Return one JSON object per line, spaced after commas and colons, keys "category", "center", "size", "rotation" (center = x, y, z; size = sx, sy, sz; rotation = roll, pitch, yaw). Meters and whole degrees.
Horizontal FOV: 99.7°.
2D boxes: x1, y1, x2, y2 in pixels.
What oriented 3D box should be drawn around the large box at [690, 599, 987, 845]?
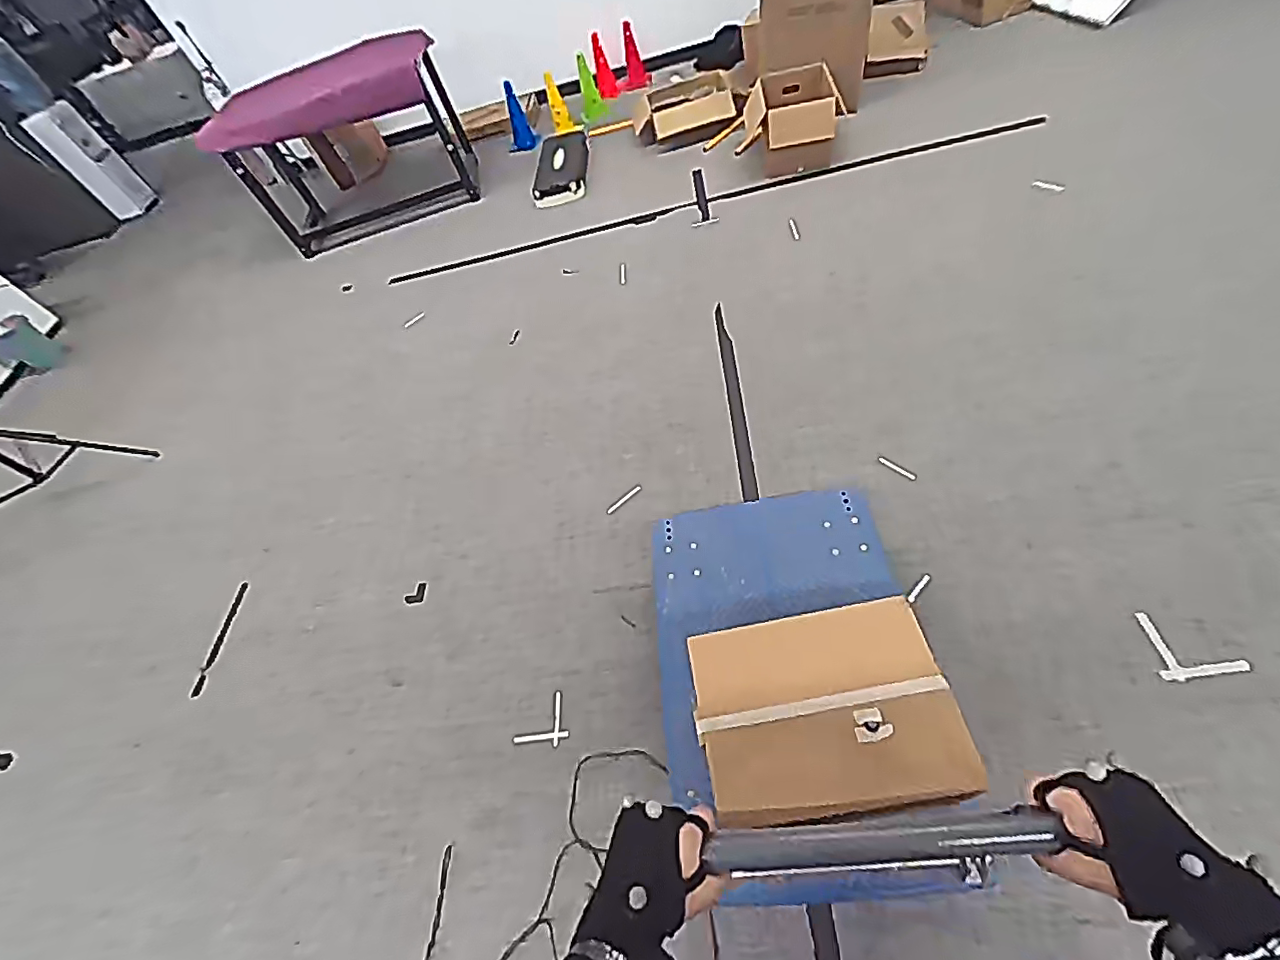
{"category": "large box", "center": [0.333, 0.467, 1.021], "size": [0.408, 0.320, 0.320], "rotation": [-13, 53, 5]}
